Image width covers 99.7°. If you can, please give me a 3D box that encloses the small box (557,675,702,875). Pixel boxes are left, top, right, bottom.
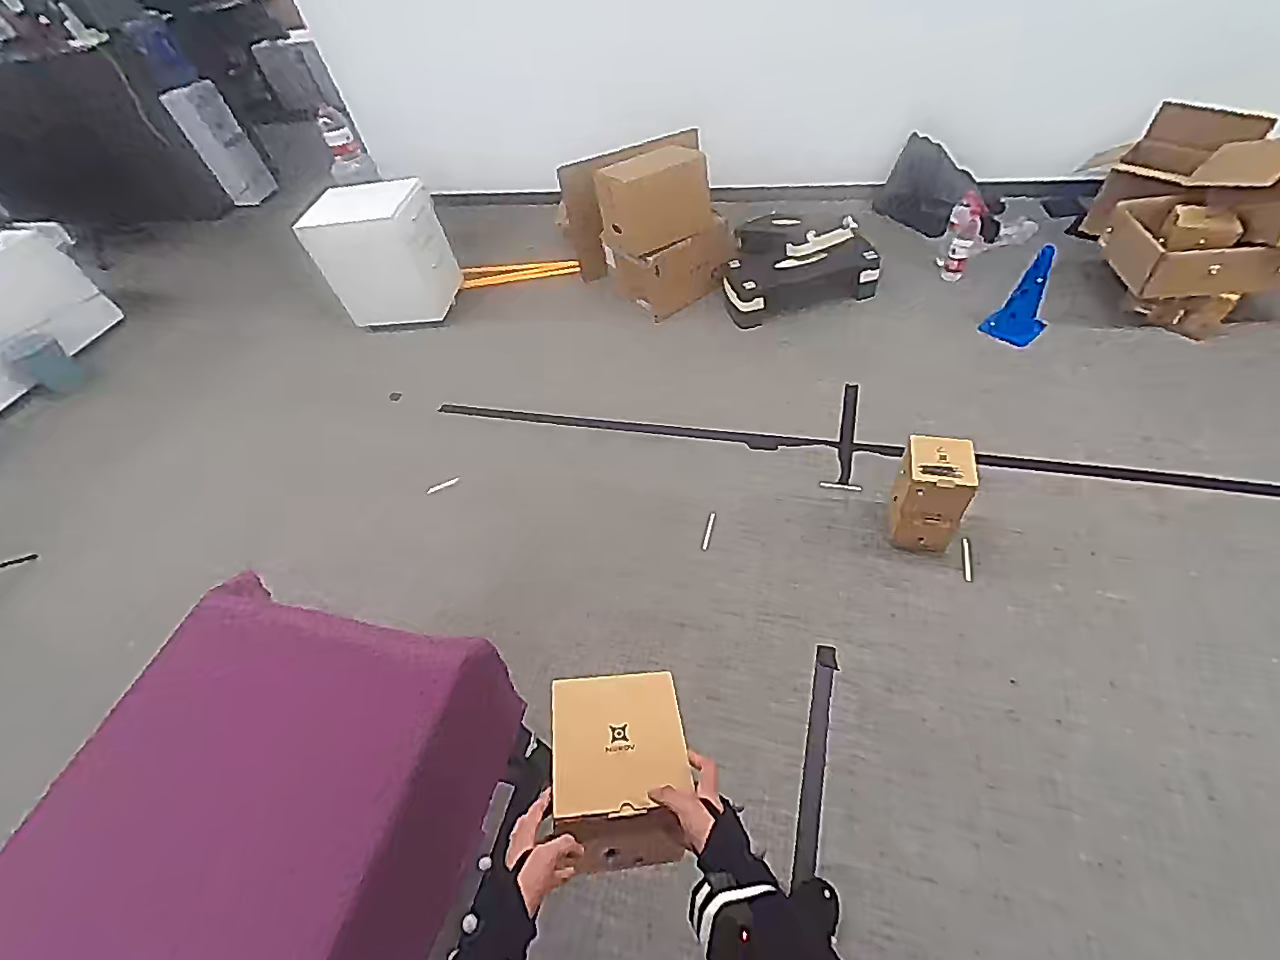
[{"bbox_3d":[-0.026,0.386,0.718,0.168,0.176,0.179,-1,38,-9],"label":"small box"}]

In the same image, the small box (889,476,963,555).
[{"bbox_3d":[0.887,0.110,1.696,0.168,0.176,0.179,5,54,14],"label":"small box"}]
